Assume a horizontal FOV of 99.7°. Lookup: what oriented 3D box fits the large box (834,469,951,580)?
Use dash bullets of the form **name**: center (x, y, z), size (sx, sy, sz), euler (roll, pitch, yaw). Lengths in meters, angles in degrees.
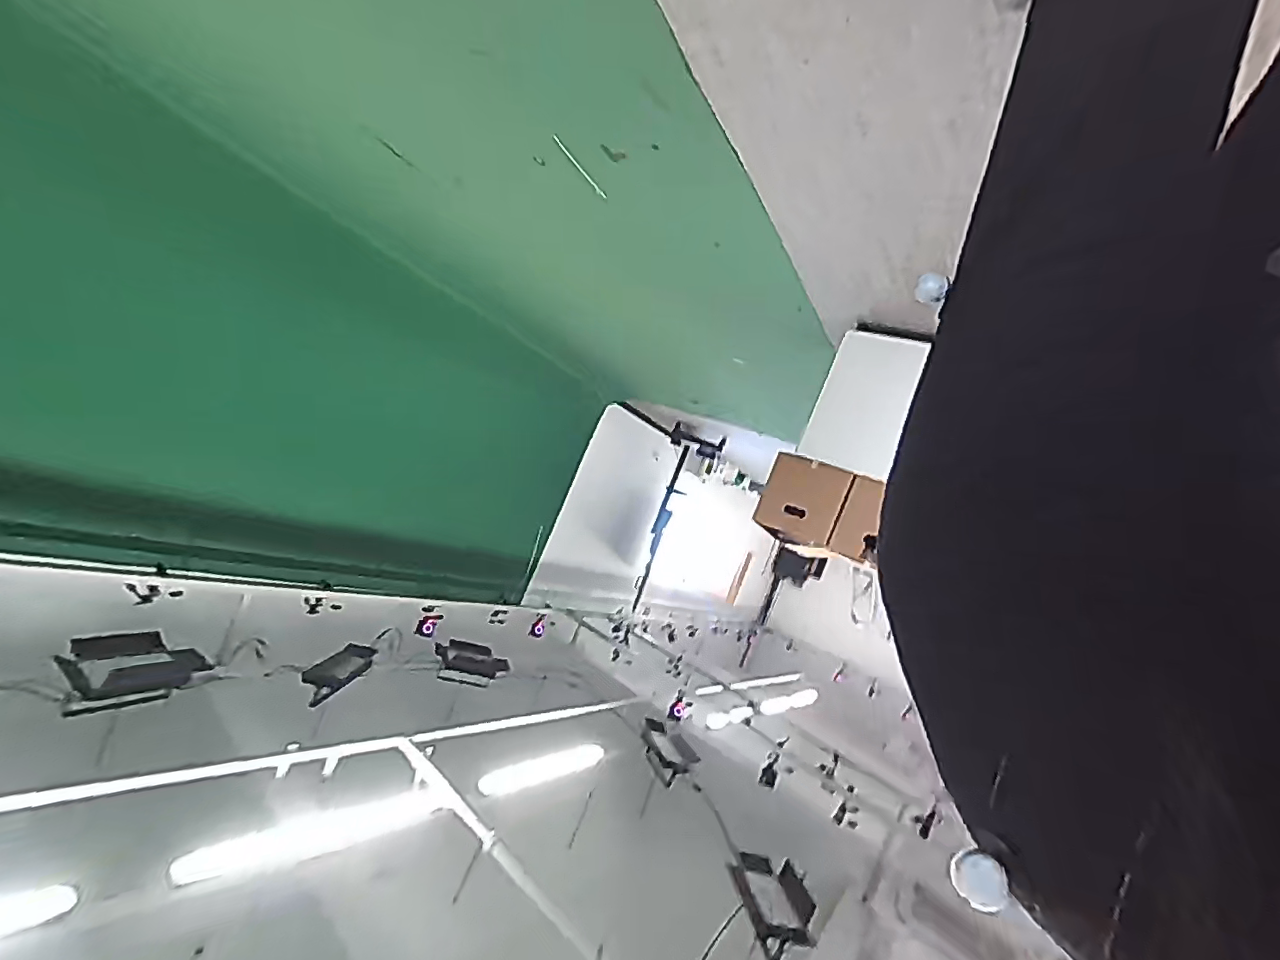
- **large box**: center (0.997, 0.180, 2.111), size (0.320, 0.320, 0.408), euler (23, 180, 32)
